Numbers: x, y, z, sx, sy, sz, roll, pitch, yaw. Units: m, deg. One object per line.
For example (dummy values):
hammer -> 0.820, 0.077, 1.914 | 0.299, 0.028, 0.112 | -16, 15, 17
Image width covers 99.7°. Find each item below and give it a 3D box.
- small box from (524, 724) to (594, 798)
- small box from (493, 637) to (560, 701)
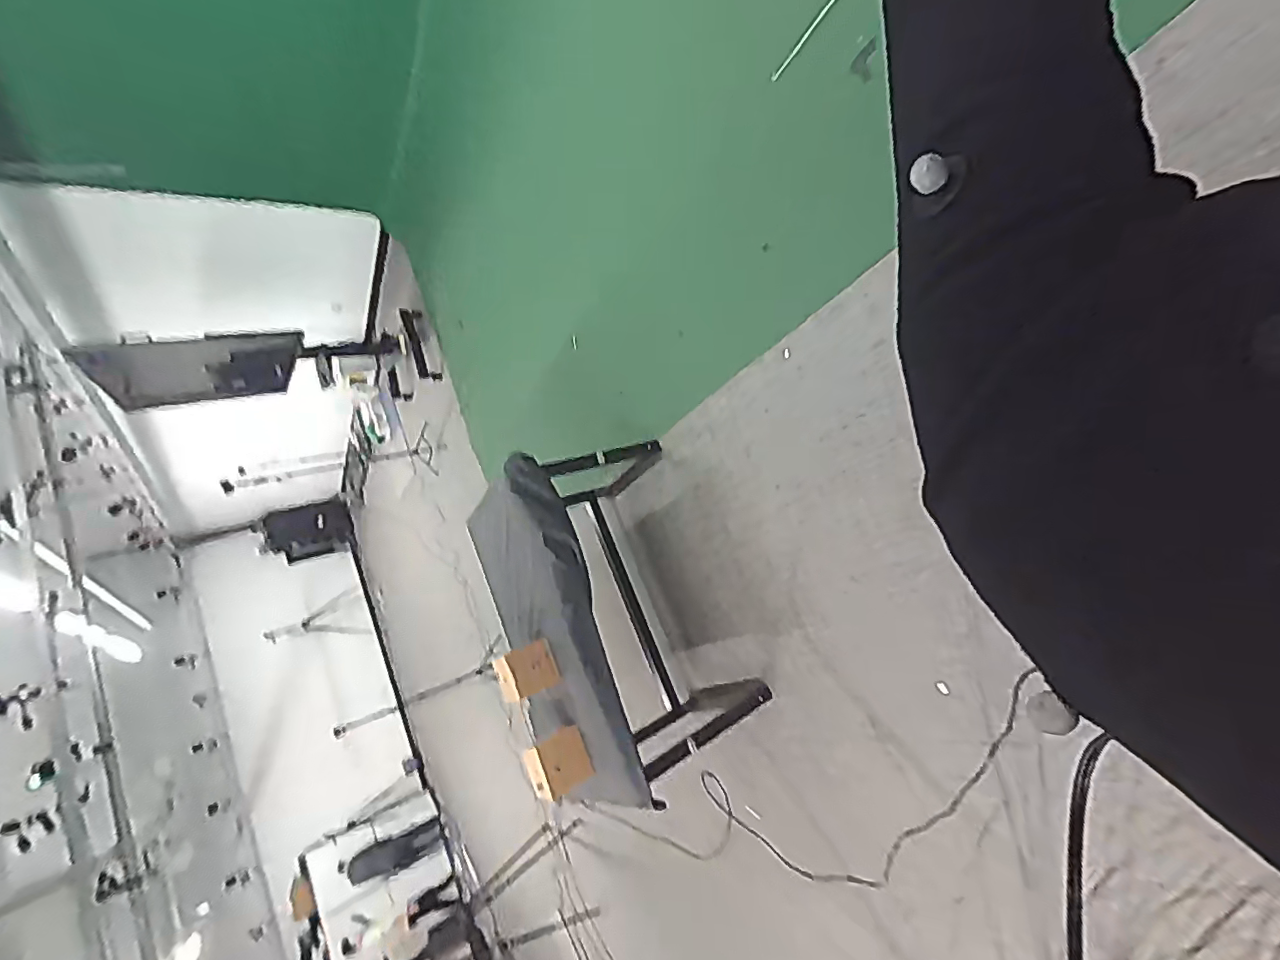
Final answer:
small box -> -0.286, 0.992, 1.918 | 0.168, 0.176, 0.179 | -42, 68, 51
small box -> -0.411, 0.691, 1.980 | 0.179, 0.176, 0.168 | -37, 72, 52
